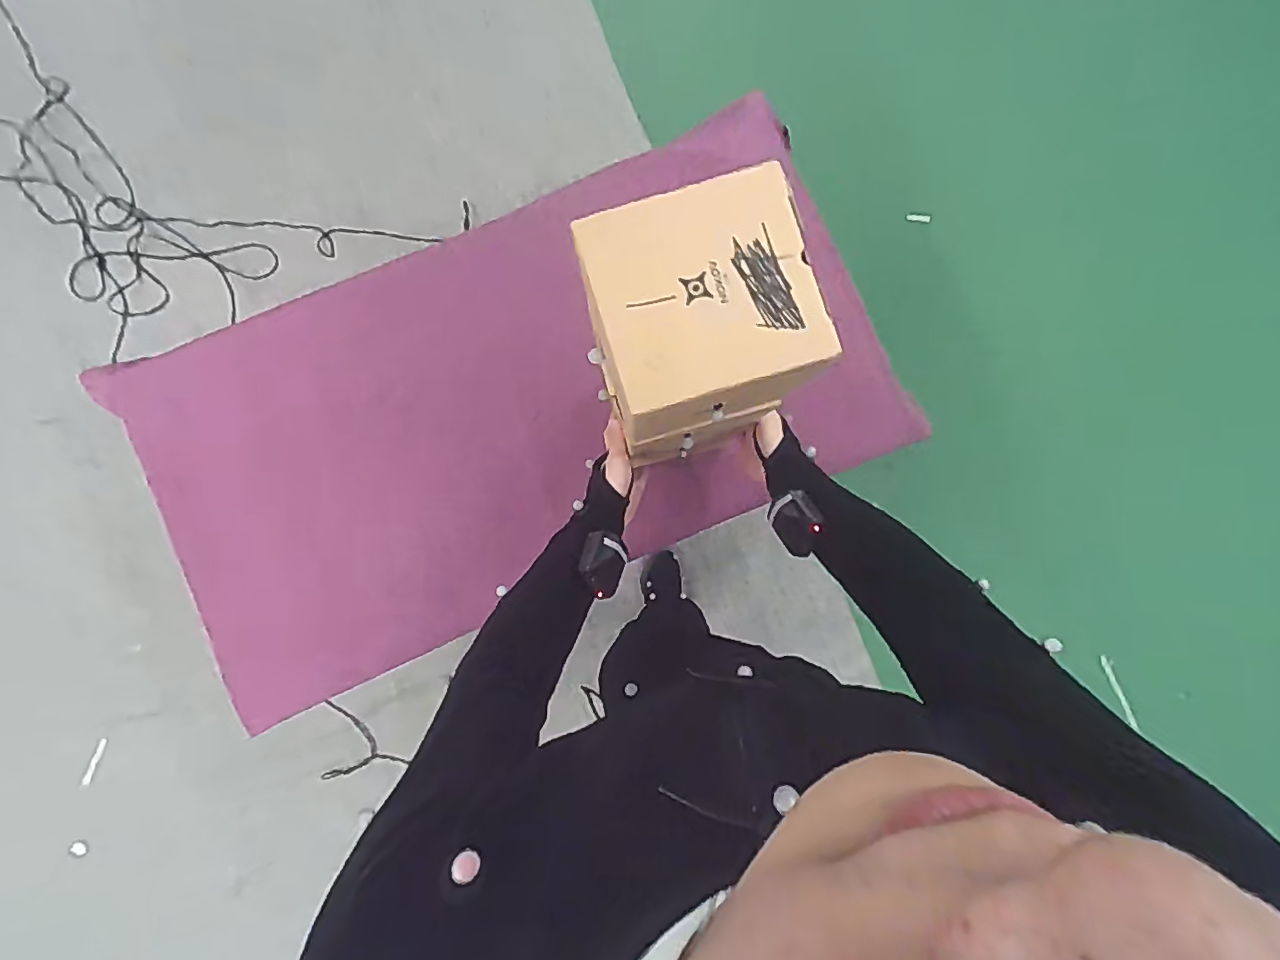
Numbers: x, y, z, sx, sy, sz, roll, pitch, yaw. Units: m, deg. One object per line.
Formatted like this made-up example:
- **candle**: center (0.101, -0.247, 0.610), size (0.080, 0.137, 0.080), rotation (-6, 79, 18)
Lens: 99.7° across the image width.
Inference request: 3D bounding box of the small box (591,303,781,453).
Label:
- **small box**: center (0.051, -0.137, 0.667), size (0.179, 0.176, 0.168), rotation (-16, 88, 0)

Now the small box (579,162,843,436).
- **small box**: center (0.054, -0.148, 0.502), size (0.179, 0.176, 0.168), rotation (-17, 87, -1)

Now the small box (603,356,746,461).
- **small box**: center (0.047, -0.129, 0.830), size (0.179, 0.176, 0.168), rotation (-13, 87, -2)
